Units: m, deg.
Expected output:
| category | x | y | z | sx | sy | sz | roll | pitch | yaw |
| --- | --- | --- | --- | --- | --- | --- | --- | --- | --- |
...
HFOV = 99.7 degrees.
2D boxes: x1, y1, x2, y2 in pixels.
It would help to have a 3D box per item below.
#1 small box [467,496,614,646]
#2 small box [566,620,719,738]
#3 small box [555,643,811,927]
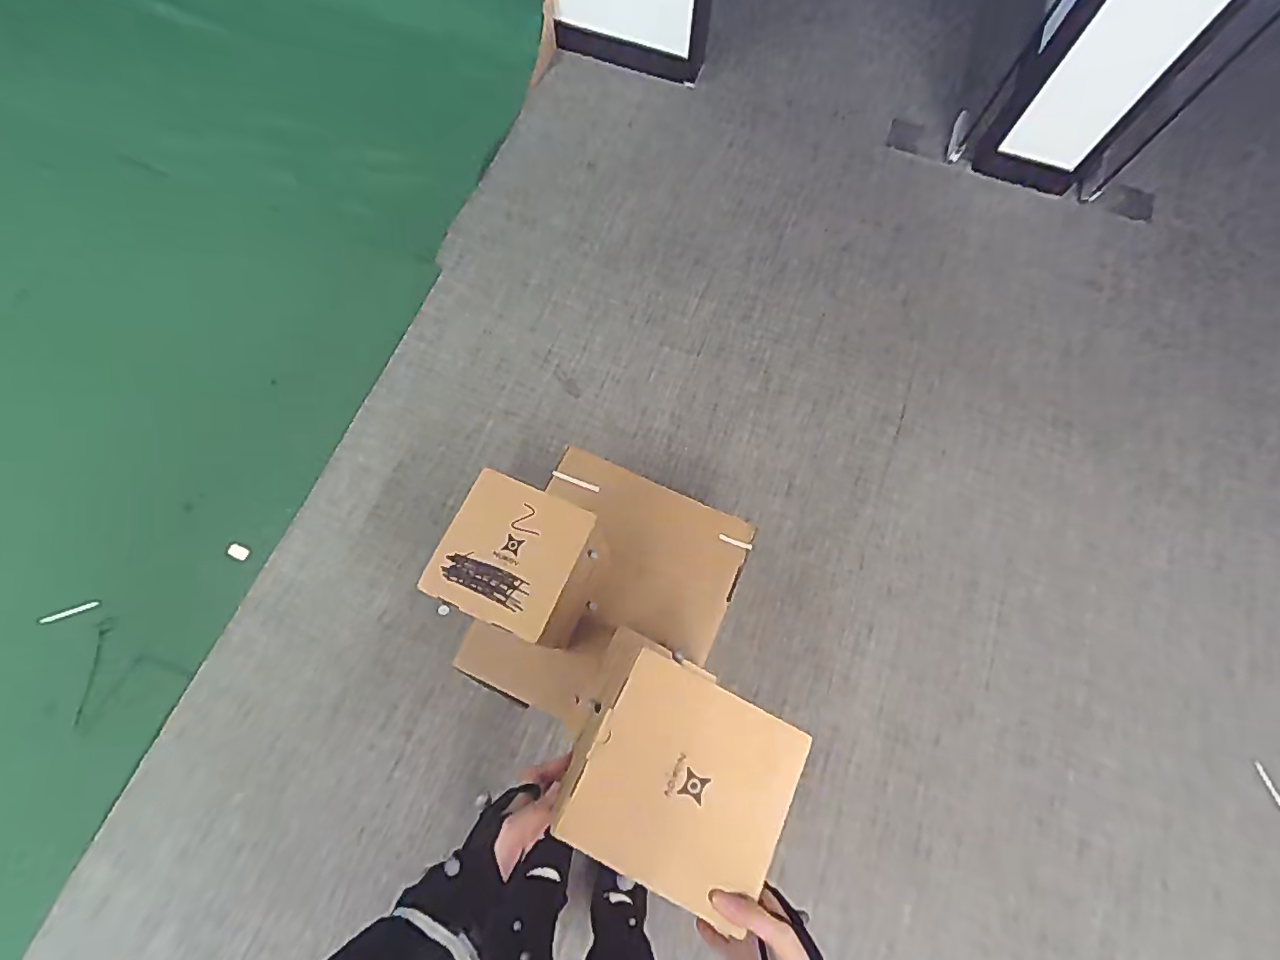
| category | x | y | z | sx | sy | sz | roll | pitch | yaw |
| --- | --- | --- | --- | --- | --- | --- | --- | --- | --- |
| small box | -0.155 | 0.159 | 0.902 | 0.168 | 0.176 | 0.179 | 26 | 72 | 8 |
| small box | 0.004 | 0.341 | 0.847 | 0.168 | 0.176 | 0.179 | 28 | 72 | 6 |
| small box | 0.032 | 0.277 | 0.536 | 0.179 | 0.176 | 0.168 | 28 | 70 | 2 |
